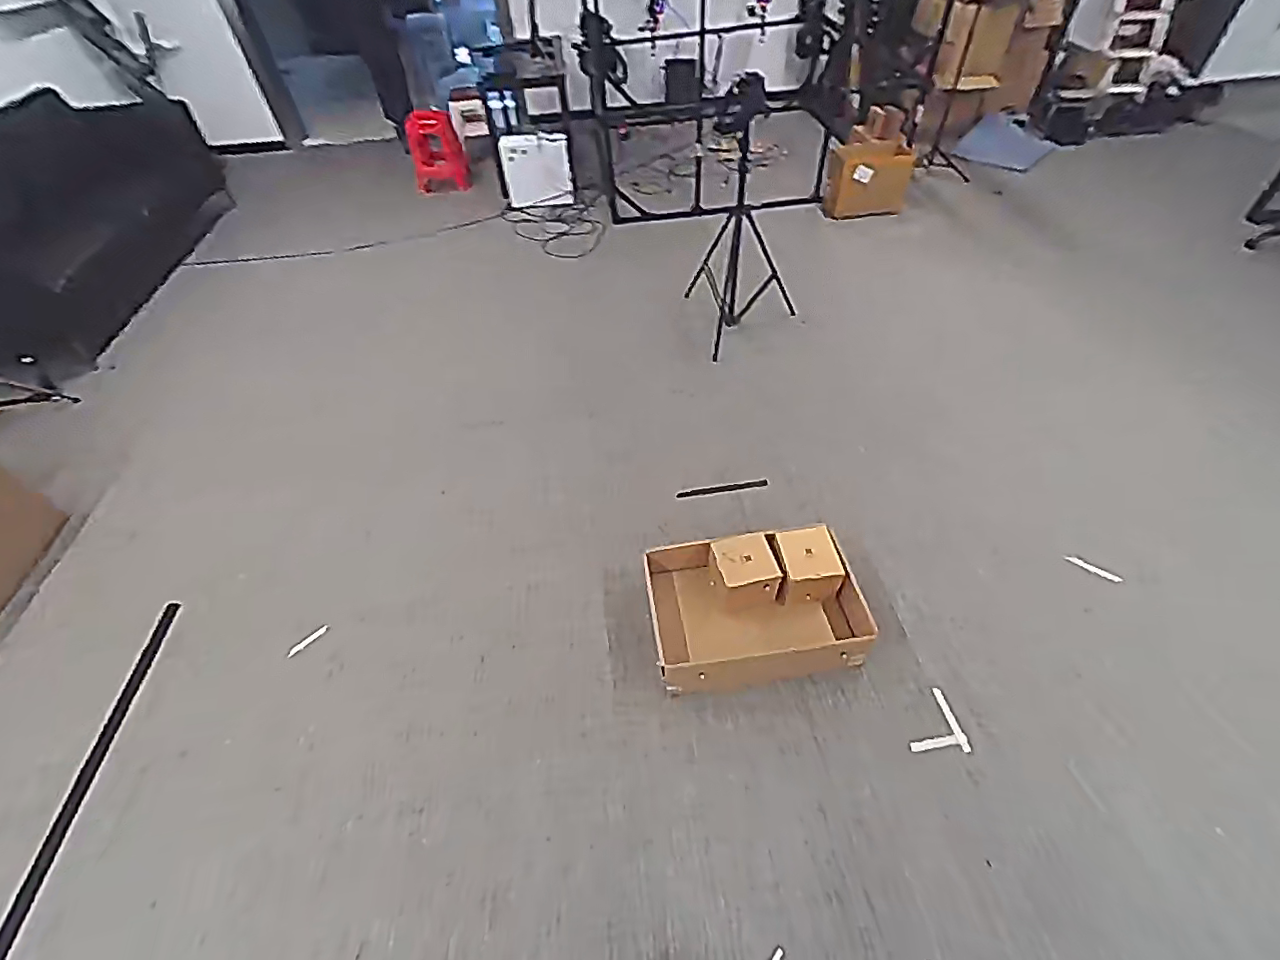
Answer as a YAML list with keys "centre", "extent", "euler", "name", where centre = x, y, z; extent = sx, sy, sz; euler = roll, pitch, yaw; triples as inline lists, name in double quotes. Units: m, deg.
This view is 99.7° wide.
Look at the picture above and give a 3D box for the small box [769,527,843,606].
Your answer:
- centre: [0.516, 0.275, 1.710]
  extent: [0.168, 0.176, 0.179]
  euler: [-8, 51, -2]
  name: "small box"
